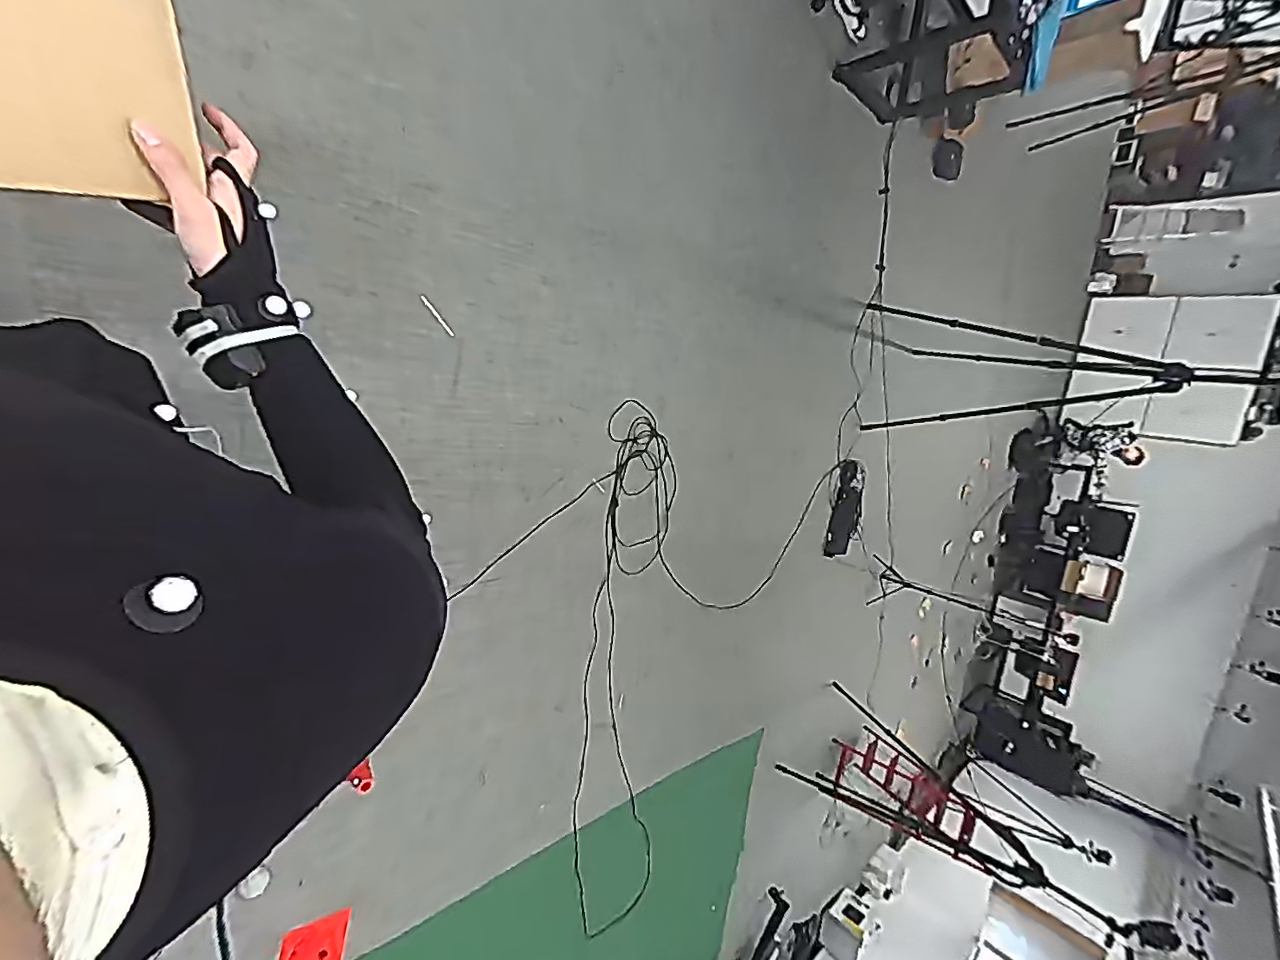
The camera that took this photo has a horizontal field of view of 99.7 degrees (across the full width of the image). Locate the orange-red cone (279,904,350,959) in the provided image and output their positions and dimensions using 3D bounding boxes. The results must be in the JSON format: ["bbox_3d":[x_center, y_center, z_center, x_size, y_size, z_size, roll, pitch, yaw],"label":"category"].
[{"bbox_3d":[-0.953,1.549,1.657,0.199,0.360,0.198,8,97,-47],"label":"orange-red cone"}]
